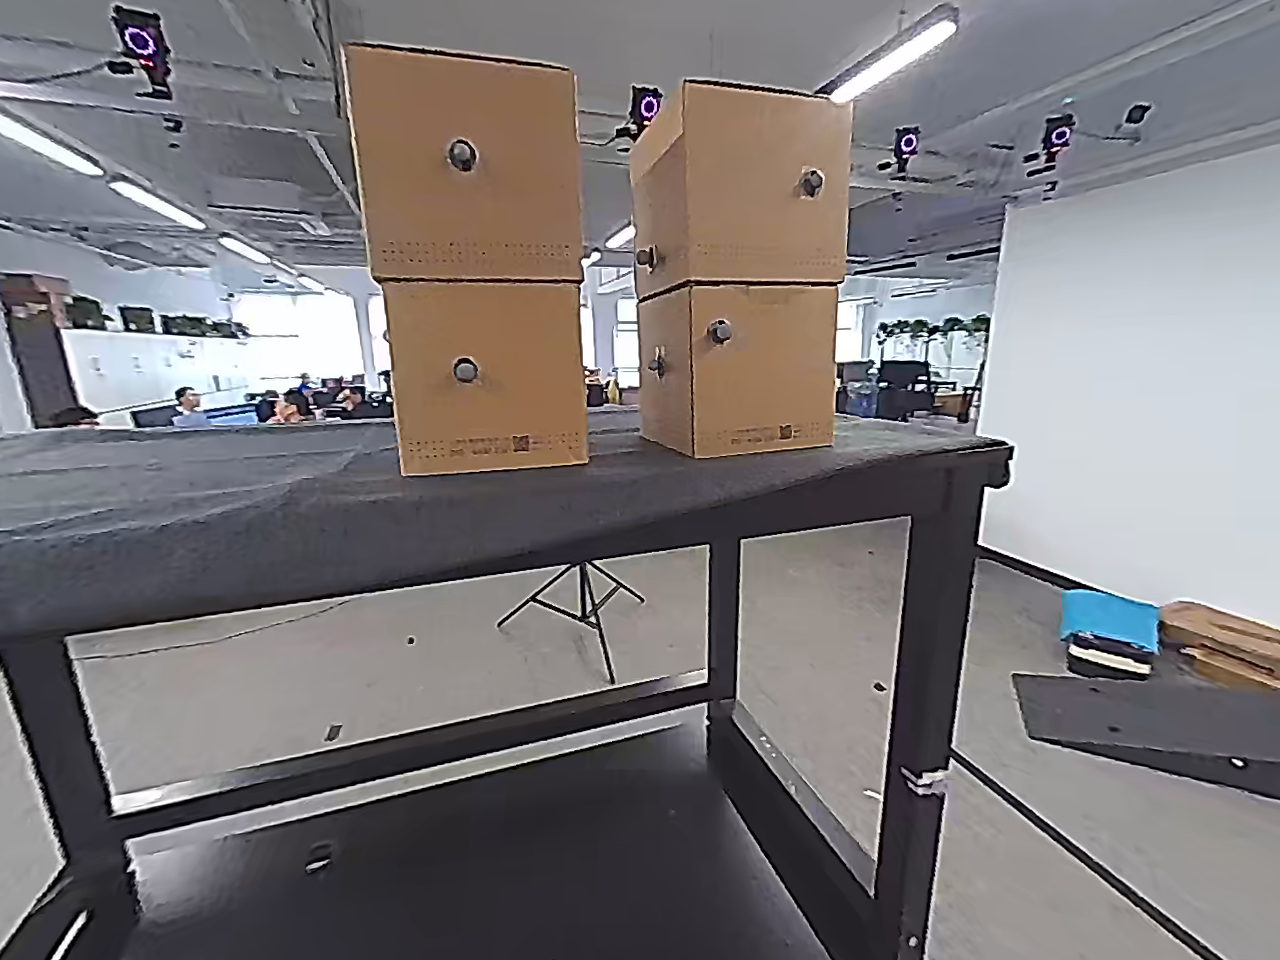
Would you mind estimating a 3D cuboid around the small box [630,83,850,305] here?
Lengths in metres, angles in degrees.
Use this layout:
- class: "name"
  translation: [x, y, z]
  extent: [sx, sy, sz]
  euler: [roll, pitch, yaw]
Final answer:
- class: "small box"
  translation: [0.096, -0.281, 0.575]
  extent: [0.179, 0.176, 0.168]
  euler: [-7, 12, -17]

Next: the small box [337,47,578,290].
- class: "small box"
  translation: [-0.156, -0.260, 0.508]
  extent: [0.179, 0.176, 0.168]
  euler: [-6, 12, -15]

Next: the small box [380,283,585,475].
- class: "small box"
  translation: [-0.152, -0.101, 0.553]
  extent: [0.168, 0.176, 0.179]
  euler: [-5, 13, -15]
